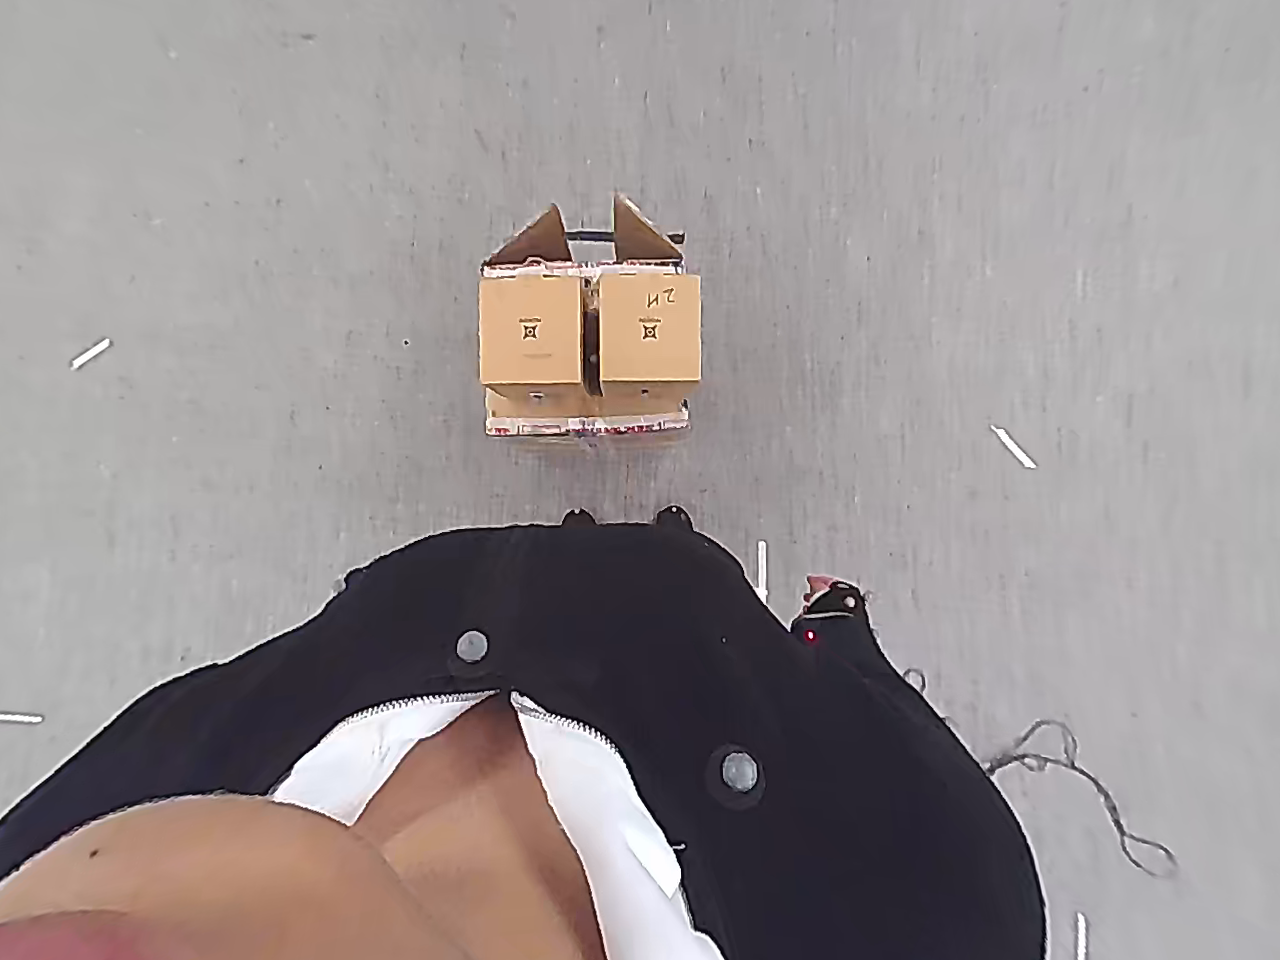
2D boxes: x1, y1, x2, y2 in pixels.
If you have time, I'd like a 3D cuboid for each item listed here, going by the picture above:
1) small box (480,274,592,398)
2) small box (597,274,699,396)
[{"bbox_3d":[-0.176,-0.244,0.951,0.168,0.176,0.179,-1,91,1],"label":"small box"},{"bbox_3d":[0.012,-0.245,0.952,0.168,0.176,0.179,0,89,-2],"label":"small box"}]
